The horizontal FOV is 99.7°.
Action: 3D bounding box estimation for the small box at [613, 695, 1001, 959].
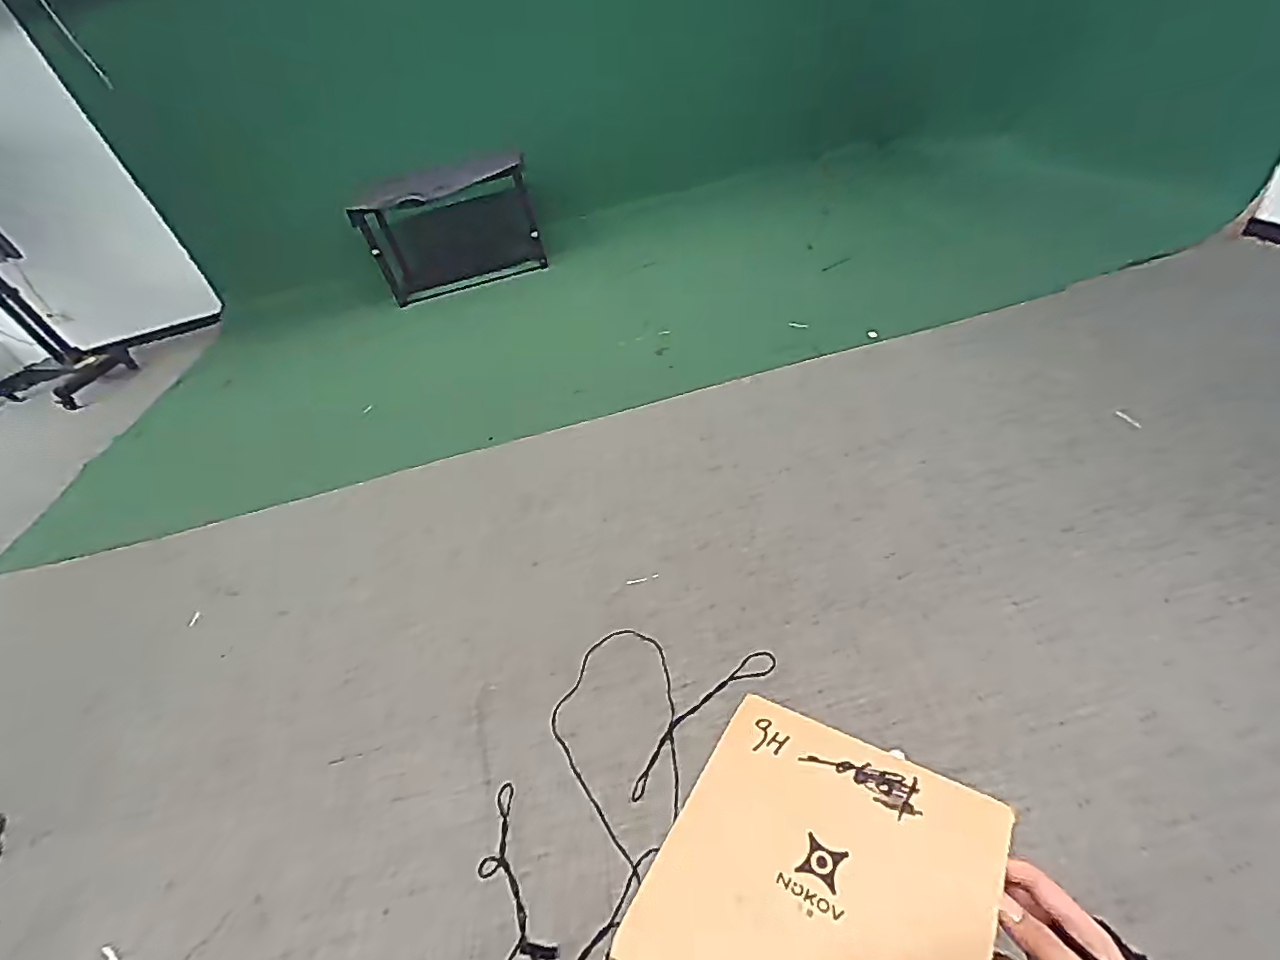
[{"bbox_3d":[0.114,0.286,0.349,0.168,0.176,0.179,12,43,36],"label":"small box"}]
